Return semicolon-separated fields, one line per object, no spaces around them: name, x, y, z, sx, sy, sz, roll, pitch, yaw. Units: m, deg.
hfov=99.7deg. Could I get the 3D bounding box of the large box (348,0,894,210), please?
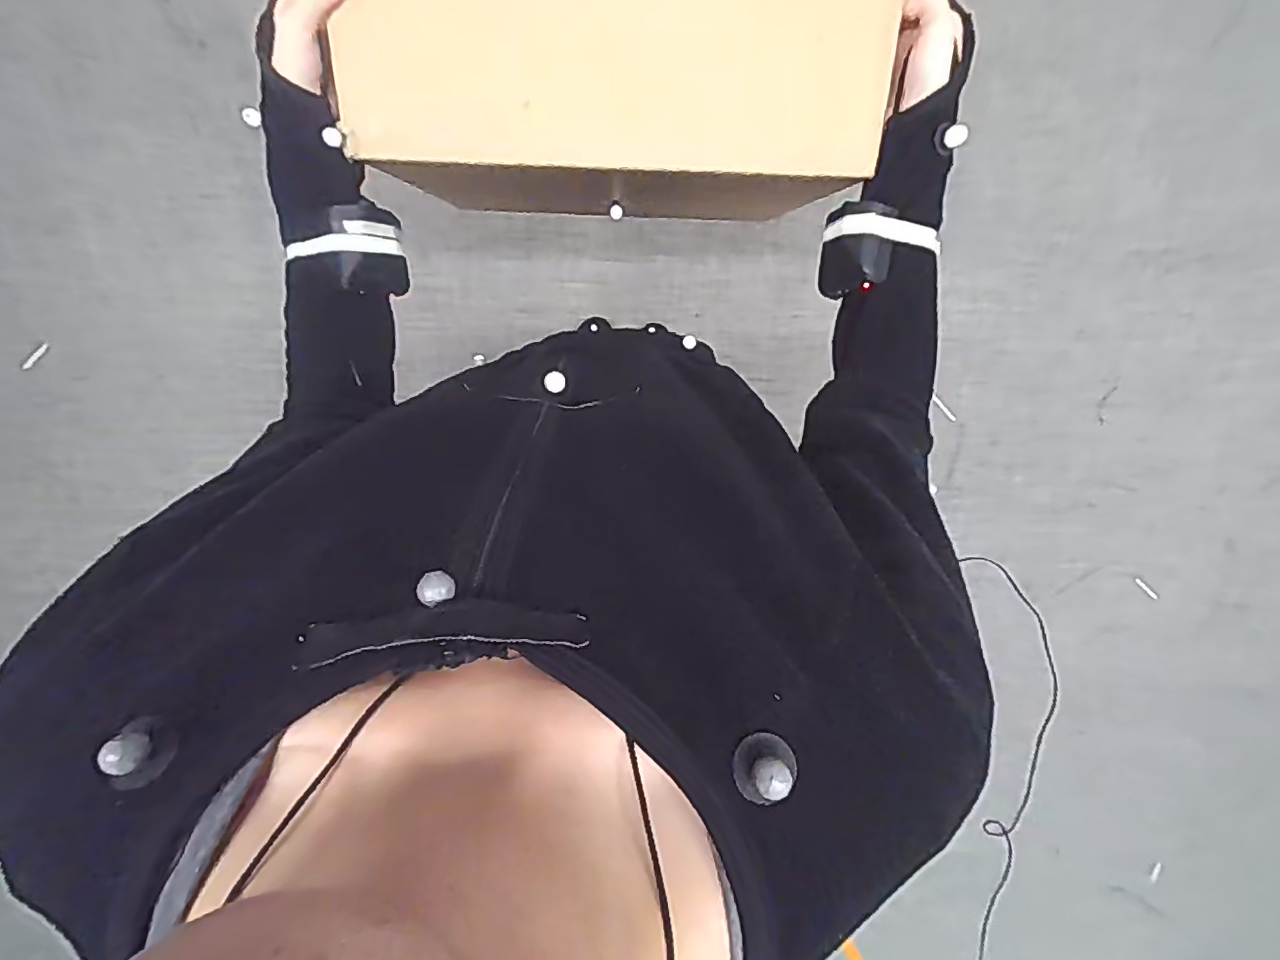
large box;-0.013;-0.444;0.516;0.408;0.320;0.320;1;110;-2
